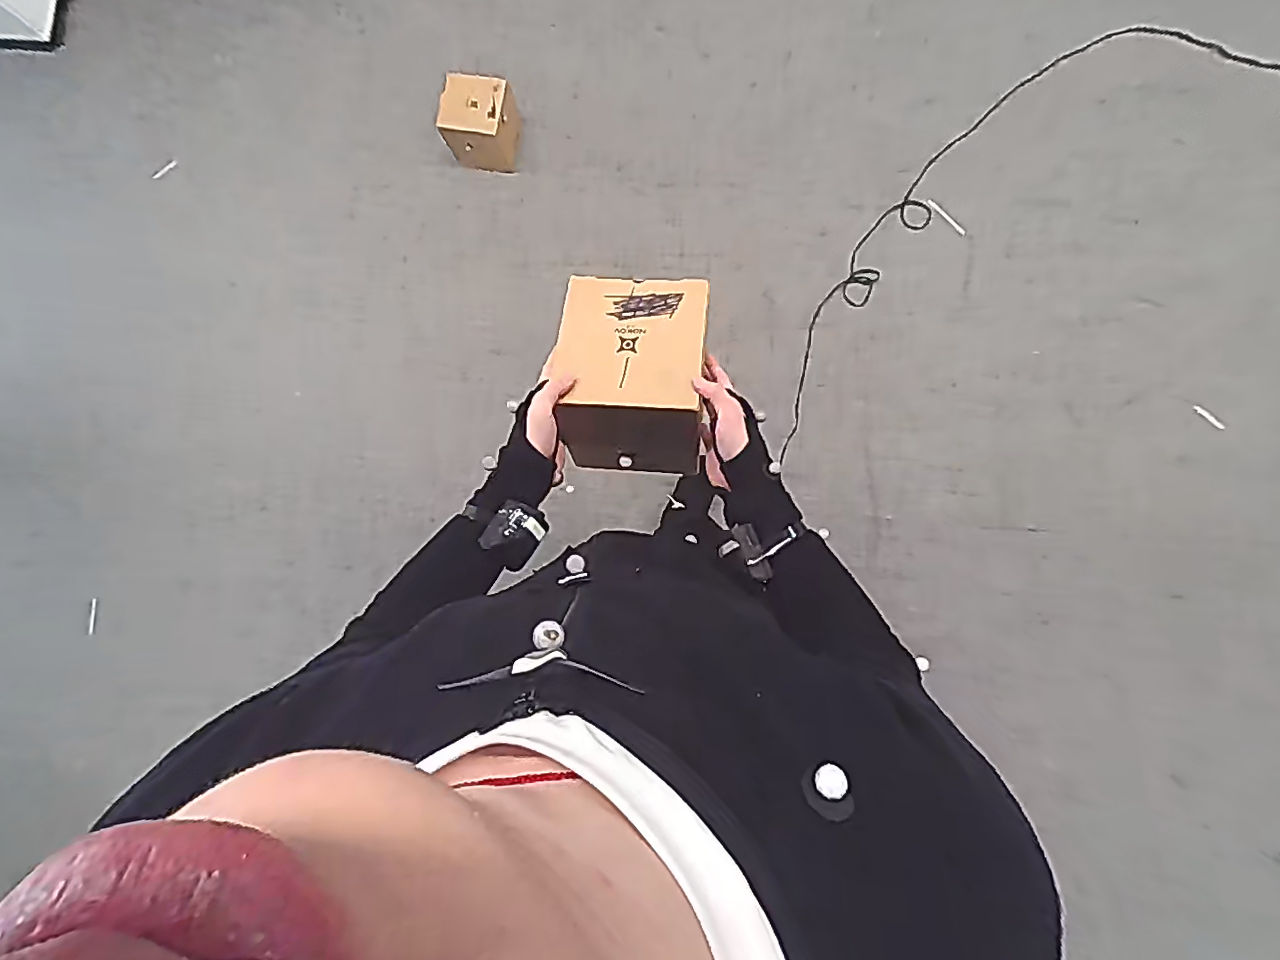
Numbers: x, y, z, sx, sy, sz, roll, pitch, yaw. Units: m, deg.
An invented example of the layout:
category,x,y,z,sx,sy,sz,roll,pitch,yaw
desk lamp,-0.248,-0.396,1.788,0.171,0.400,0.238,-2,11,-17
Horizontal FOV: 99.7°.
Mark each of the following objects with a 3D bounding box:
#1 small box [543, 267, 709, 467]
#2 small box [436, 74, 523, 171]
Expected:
category,x,y,z,sx,sy,sz,roll,pitch,yaw
small box,-0.006,-0.134,0.667,0.168,0.176,0.179,4,67,8
small box,-0.464,-1.040,1.583,0.179,0.176,0.168,10,86,5
